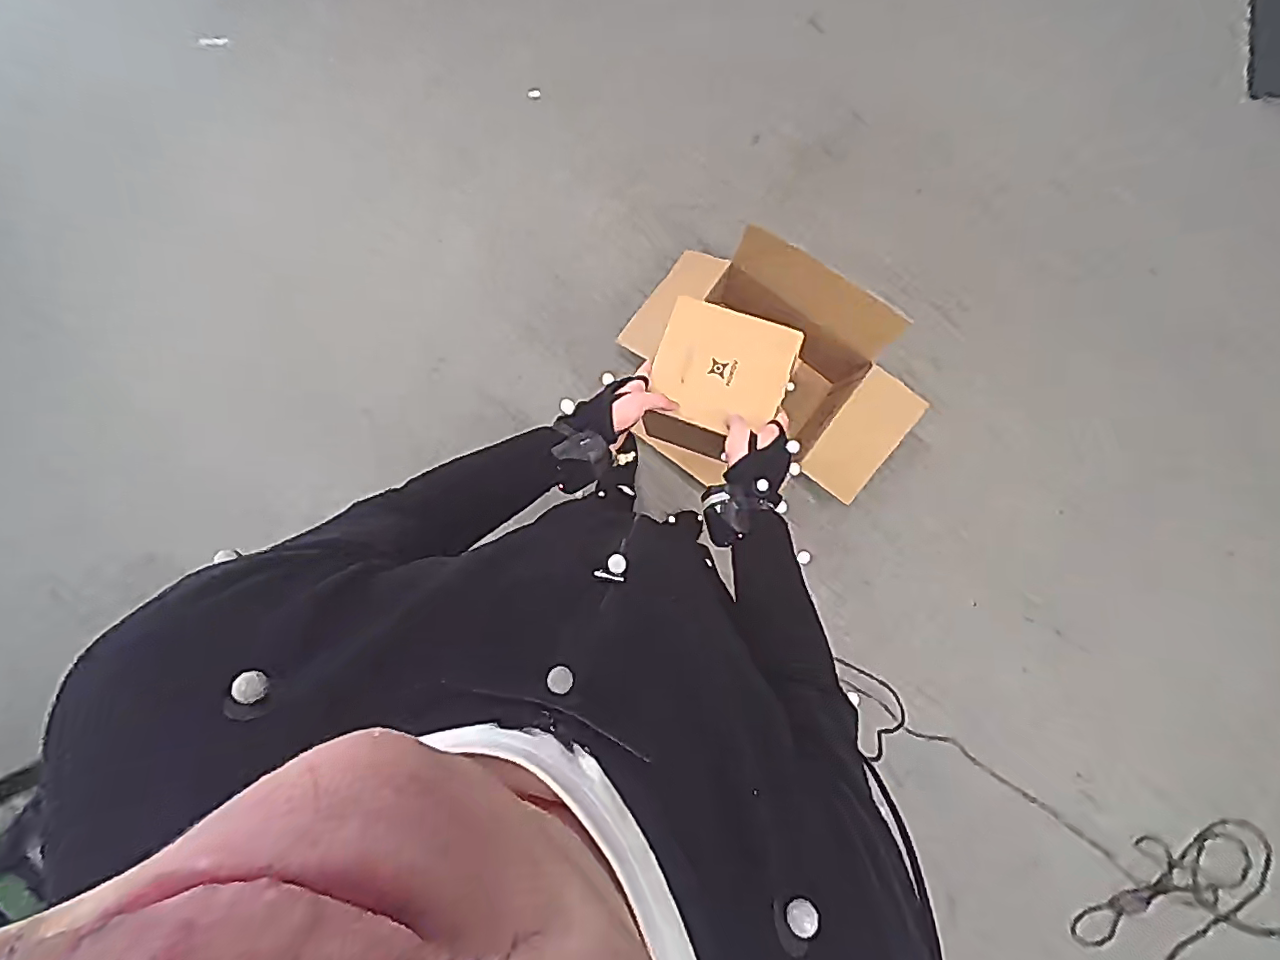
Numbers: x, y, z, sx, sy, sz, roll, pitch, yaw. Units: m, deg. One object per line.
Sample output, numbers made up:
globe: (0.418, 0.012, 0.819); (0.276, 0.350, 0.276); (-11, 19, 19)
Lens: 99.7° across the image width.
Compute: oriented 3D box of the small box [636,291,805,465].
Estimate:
small box: (0.109, -0.132, 0.770); (0.179, 0.176, 0.168); (21, 81, 8)
